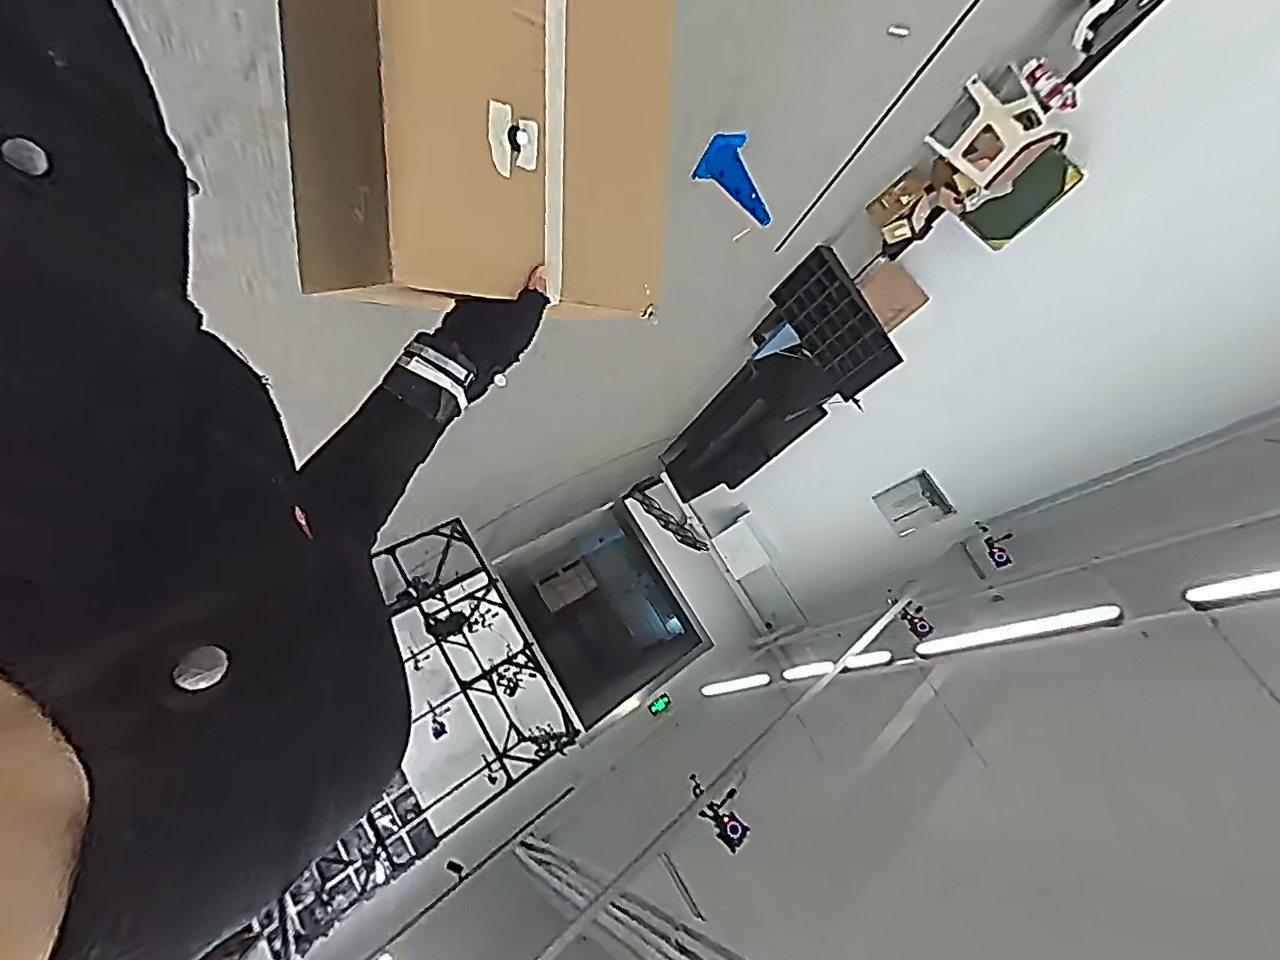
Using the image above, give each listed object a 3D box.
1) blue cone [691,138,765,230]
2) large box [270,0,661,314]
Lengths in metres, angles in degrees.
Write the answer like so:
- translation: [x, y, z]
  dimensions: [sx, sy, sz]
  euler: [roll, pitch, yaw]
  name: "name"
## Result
- translation: [0.398, -1.186, 2.203]
  dimensions: [0.193, 0.380, 0.192]
  euler: [-25, 169, -37]
  name: "blue cone"
- translation: [-0.197, -0.410, 0.615]
  dimensions: [0.320, 0.408, 0.320]
  euler: [-10, -160, -42]
  name: "large box"
